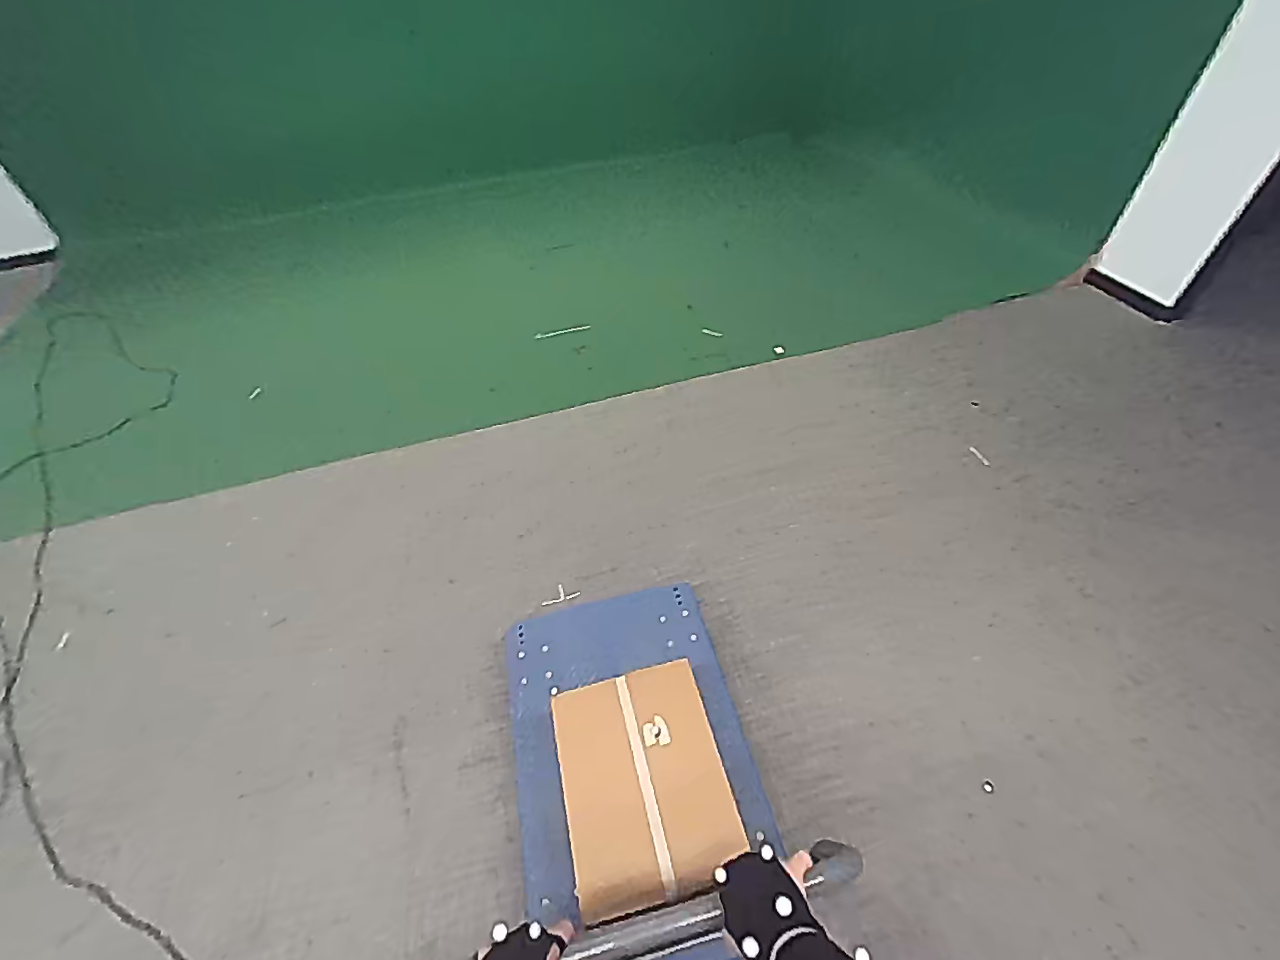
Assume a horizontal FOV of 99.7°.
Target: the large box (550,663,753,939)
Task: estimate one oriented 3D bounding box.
[{"bbox_3d":[0.014,0.679,1.162,0.320,0.320,0.408,-13,47,-7],"label":"large box"}]
